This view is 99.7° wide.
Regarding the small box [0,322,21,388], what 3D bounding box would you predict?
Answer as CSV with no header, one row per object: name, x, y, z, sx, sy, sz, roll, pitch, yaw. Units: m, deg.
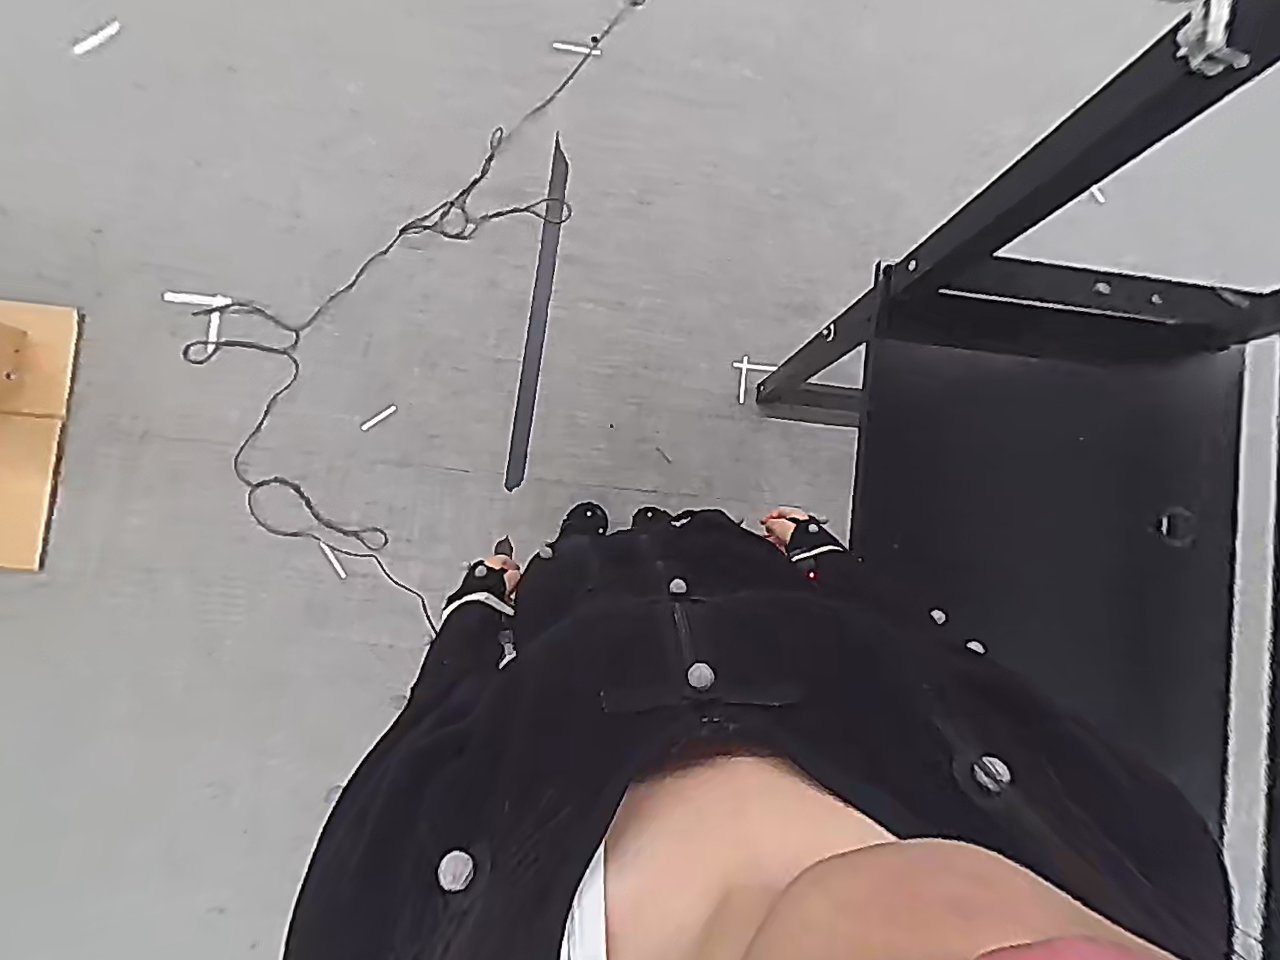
small box,-1.693,-0.325,1.322,0.179,0.176,0.168,1,87,-4
